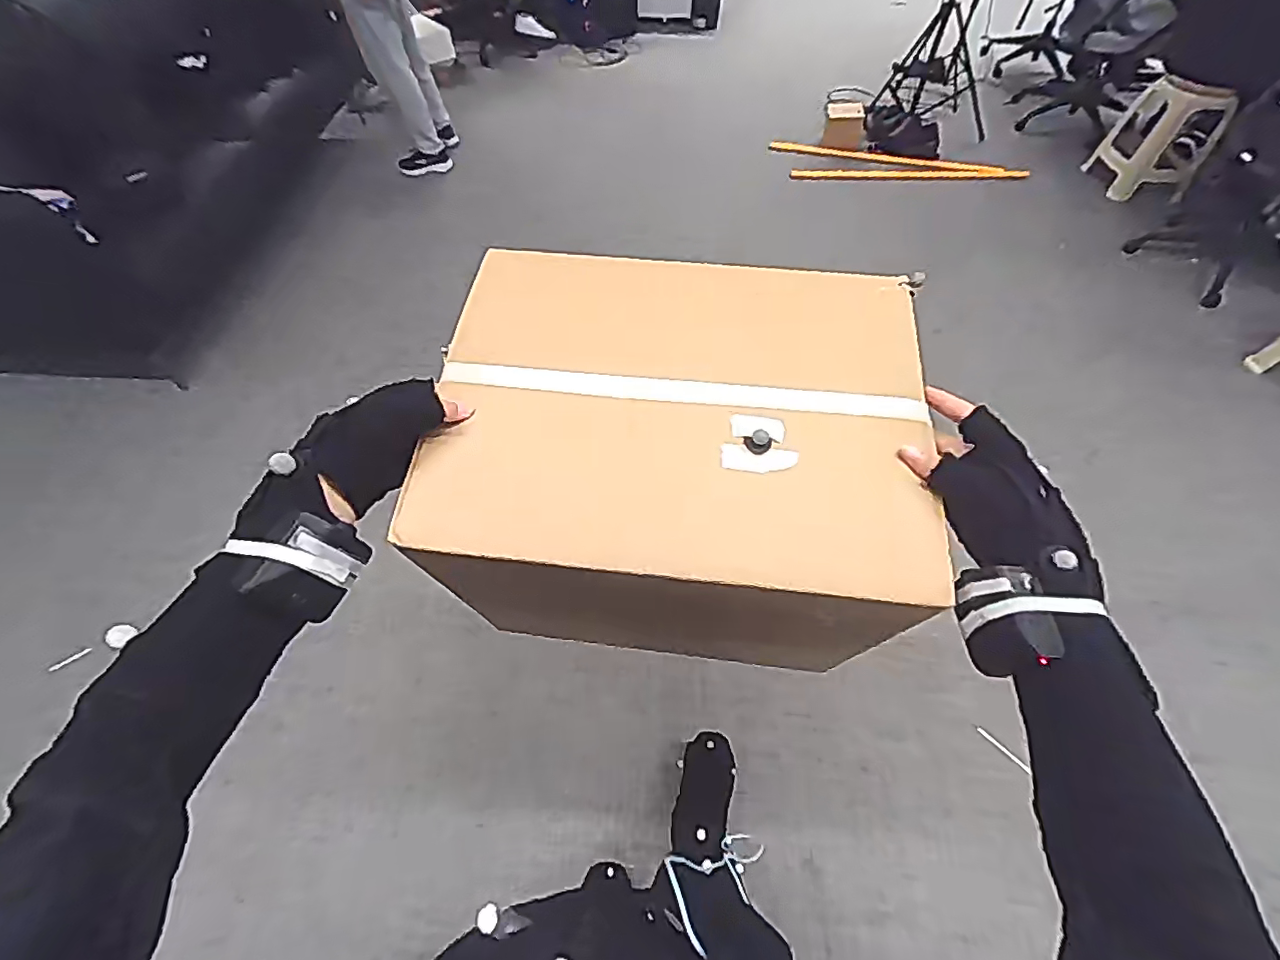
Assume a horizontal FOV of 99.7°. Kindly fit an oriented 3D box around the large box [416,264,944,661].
[{"bbox_3d":[0.039,0.000,0.600,0.408,0.320,0.320,6,63,3],"label":"large box"}]
